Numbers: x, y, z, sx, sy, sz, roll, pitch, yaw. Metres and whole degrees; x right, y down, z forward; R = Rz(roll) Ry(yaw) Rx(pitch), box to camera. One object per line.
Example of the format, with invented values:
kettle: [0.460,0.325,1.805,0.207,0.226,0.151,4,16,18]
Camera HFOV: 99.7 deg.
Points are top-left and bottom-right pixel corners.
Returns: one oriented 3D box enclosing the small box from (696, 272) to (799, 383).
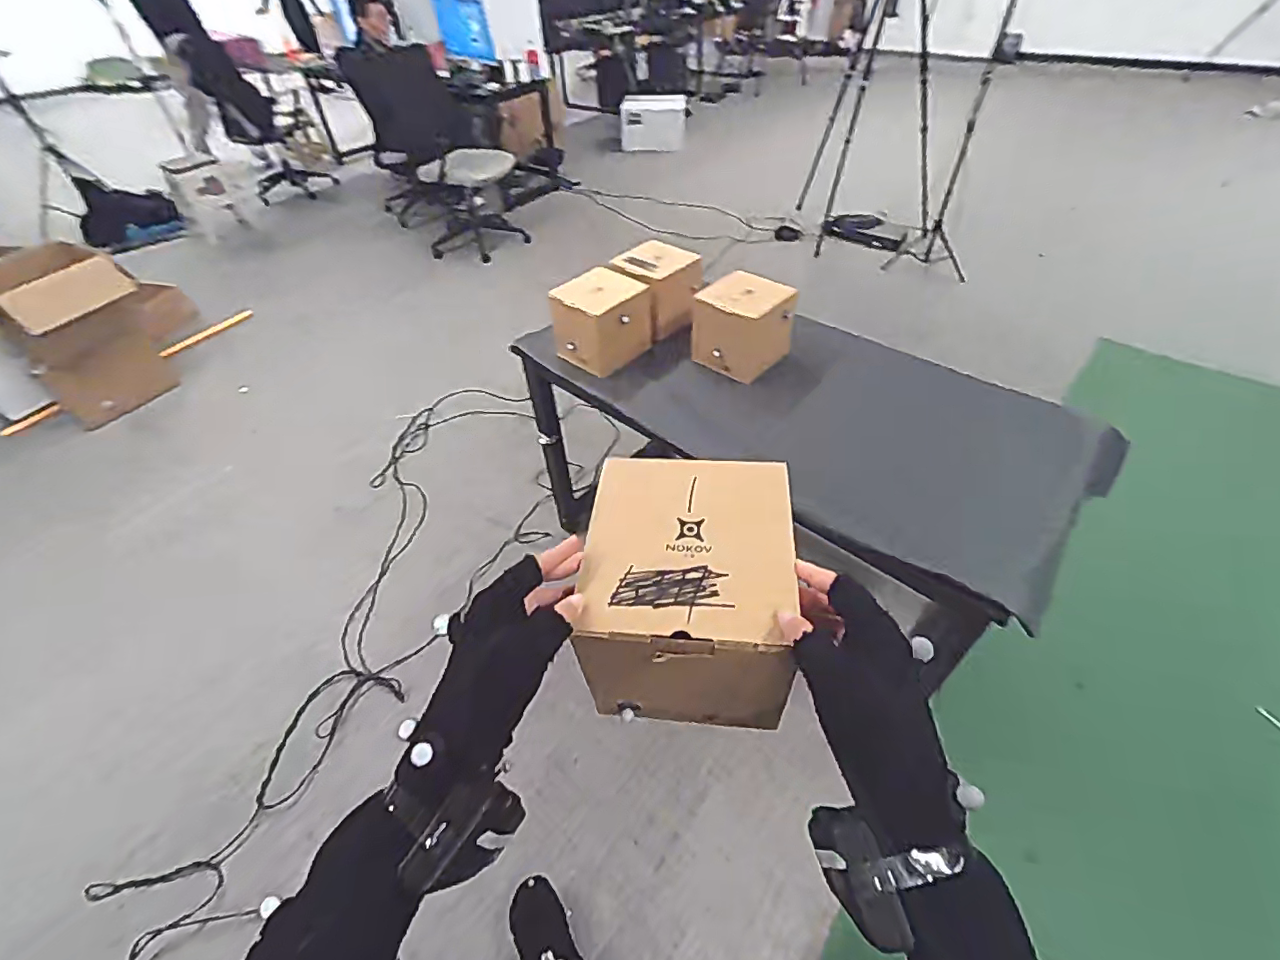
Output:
small box: [0.243,-0.358,1.267,0.168,0.176,0.179,33,56,30]

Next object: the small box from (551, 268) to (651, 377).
small box: [-0.090,-0.378,1.301,0.168,0.176,0.179,33,56,30]

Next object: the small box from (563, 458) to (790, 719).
small box: [0.040,0.100,0.492,0.168,0.176,0.179,2,48,7]
